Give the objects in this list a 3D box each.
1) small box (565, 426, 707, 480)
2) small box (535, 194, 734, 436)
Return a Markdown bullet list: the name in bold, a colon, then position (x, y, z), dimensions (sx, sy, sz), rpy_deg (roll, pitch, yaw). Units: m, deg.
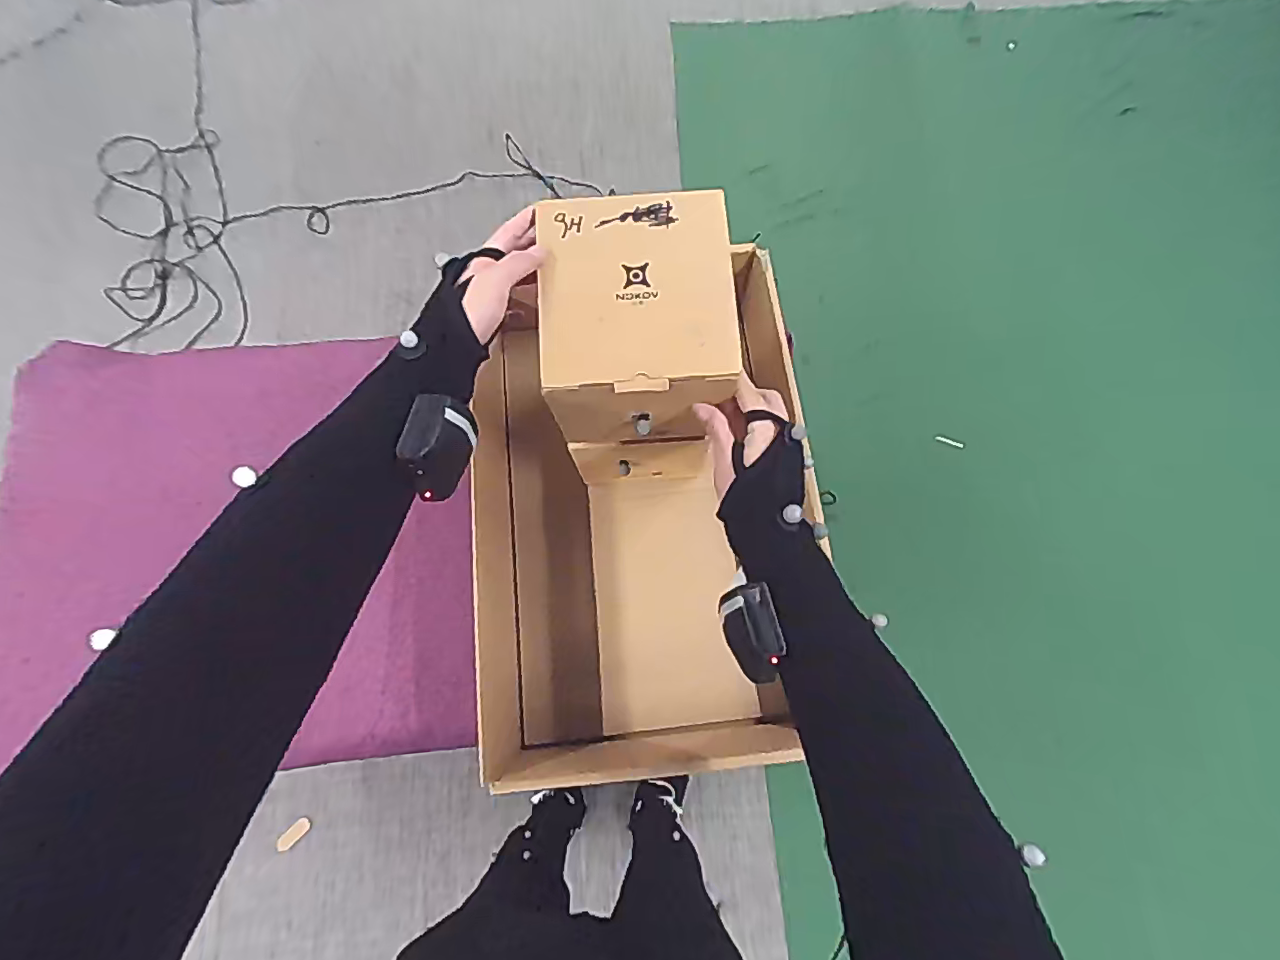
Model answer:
- **small box**: position (-0.005, -0.102, 0.709), dimensions (0.168, 0.176, 0.179), rpy_deg (-4, 75, 1)
- **small box**: position (-0.005, -0.145, 0.533), dimensions (0.168, 0.176, 0.179), rpy_deg (-3, 80, 0)
